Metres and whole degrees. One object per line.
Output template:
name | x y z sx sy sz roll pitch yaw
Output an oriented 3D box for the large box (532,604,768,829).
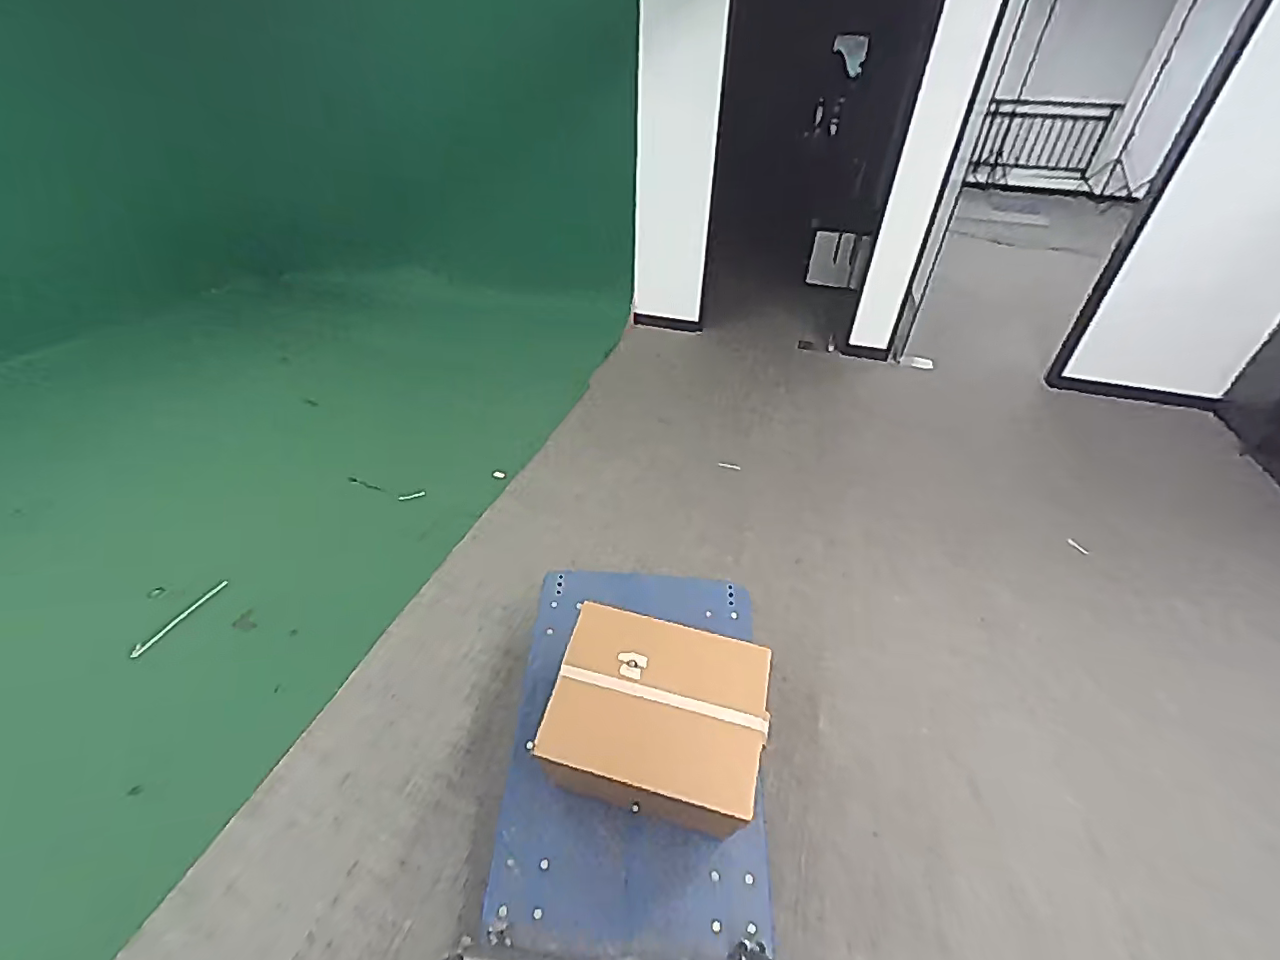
large box | 0.034 0.511 1.159 0.408 0.320 0.320 12 53 9
